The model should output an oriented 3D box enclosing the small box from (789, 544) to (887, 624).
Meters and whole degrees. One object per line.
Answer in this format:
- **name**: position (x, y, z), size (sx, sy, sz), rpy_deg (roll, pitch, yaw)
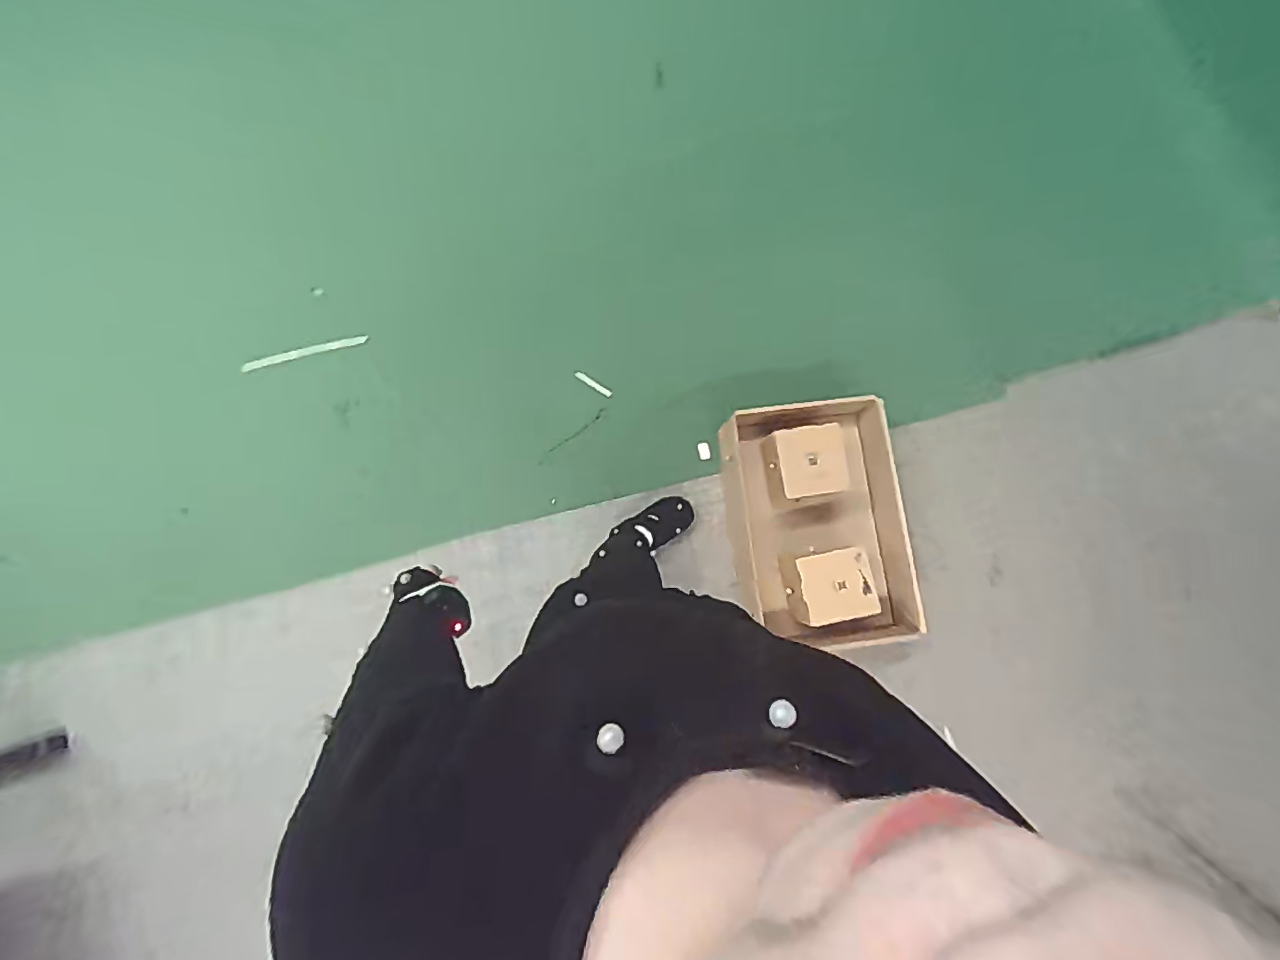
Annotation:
- **small box**: position (0.485, 0.258, 1.361), size (0.179, 0.176, 0.168), rpy_deg (-11, 82, 0)
